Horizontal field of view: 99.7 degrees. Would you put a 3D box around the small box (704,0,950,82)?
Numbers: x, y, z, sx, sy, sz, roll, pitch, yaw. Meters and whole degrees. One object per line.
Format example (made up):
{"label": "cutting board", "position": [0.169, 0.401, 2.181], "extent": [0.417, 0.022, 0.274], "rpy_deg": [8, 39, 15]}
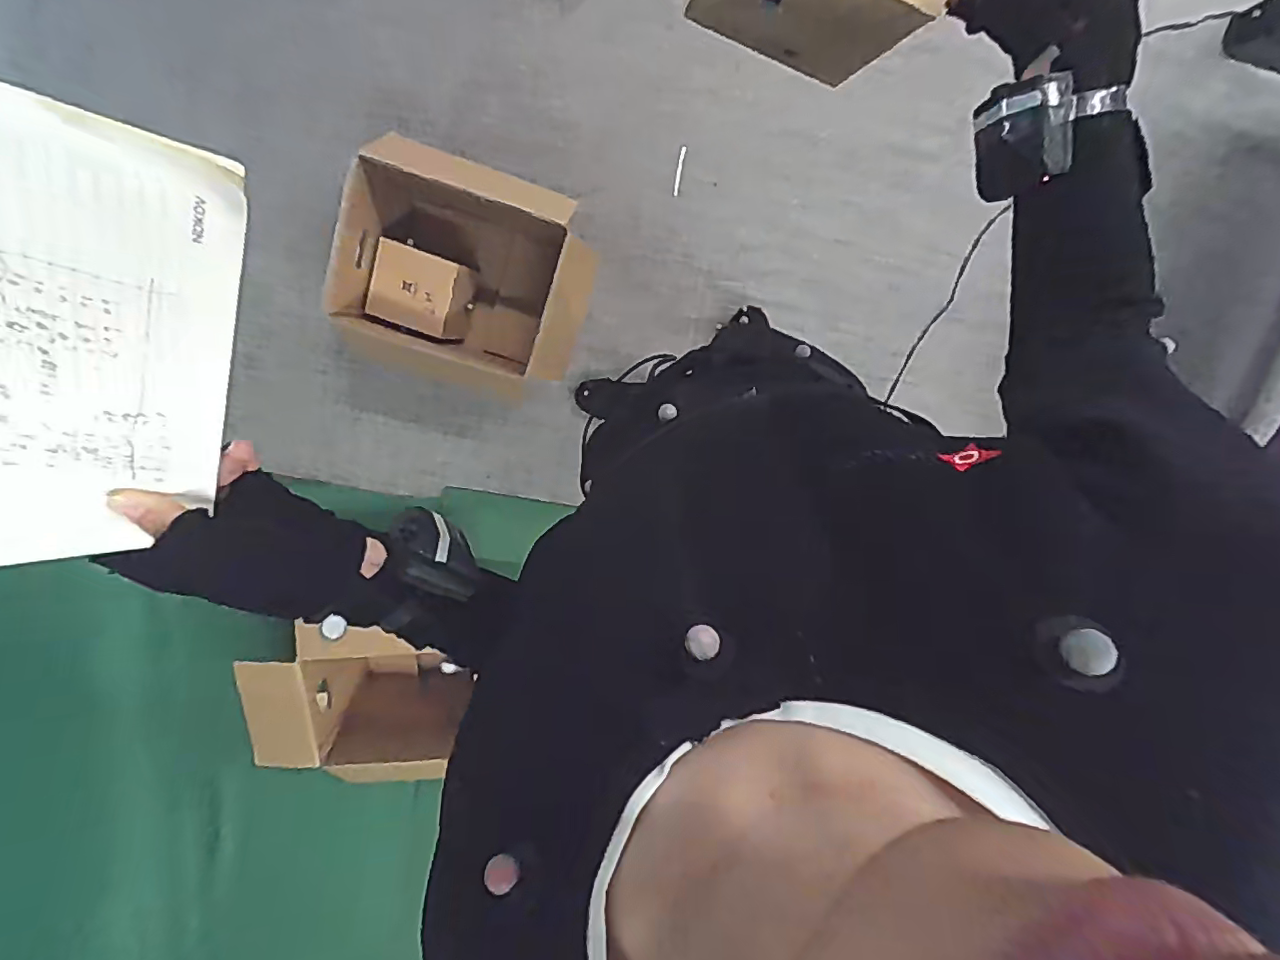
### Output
{"label": "small box", "position": [0.156, -0.450, 0.412], "extent": [0.168, 0.176, 0.179], "rpy_deg": [16, 107, -12]}
